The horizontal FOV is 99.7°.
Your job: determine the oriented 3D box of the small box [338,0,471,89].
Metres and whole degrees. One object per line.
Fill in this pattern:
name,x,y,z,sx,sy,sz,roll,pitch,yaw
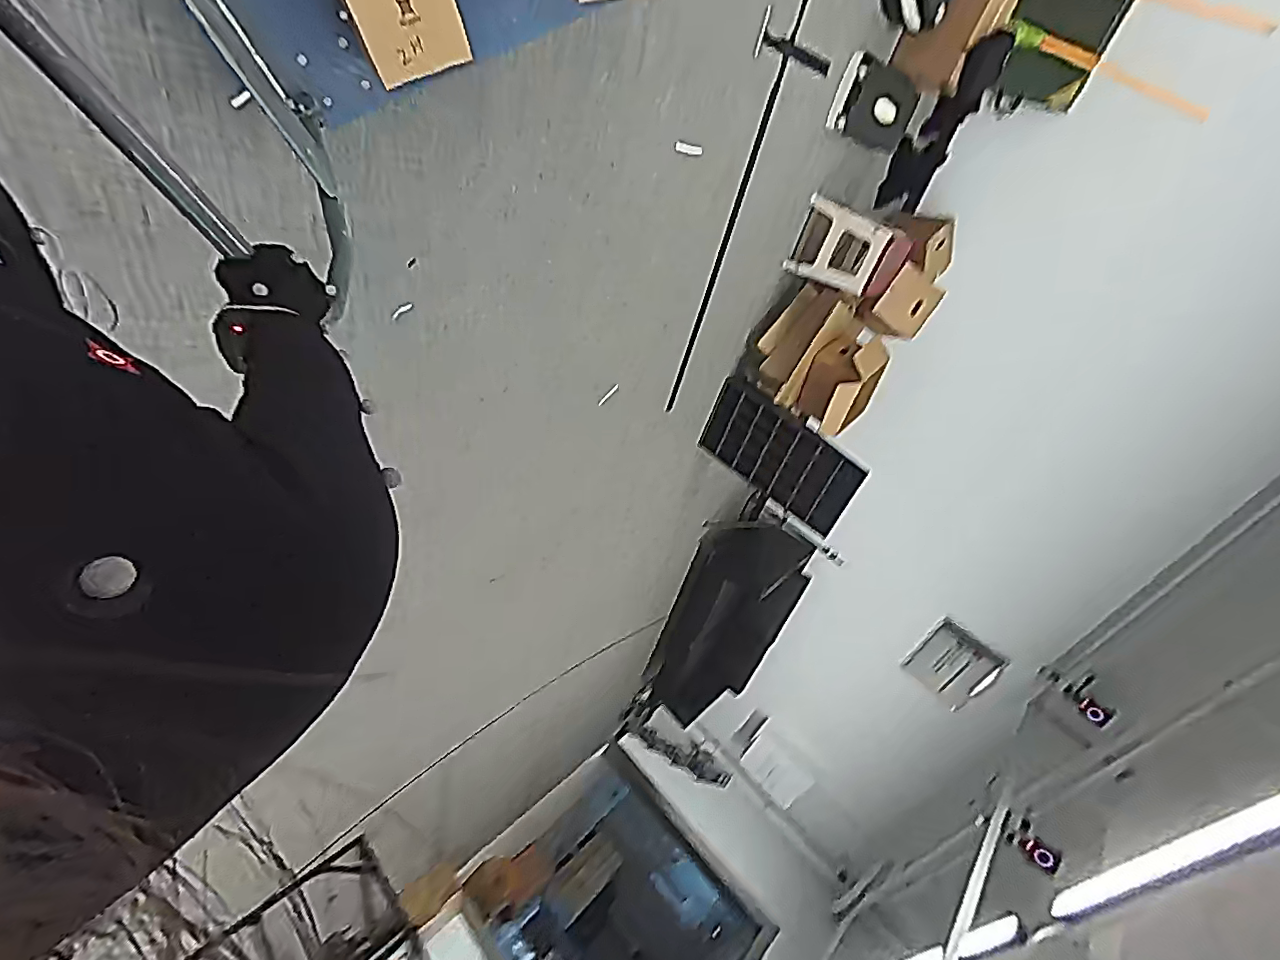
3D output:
small box,-0.416,-0.809,0.911,0.168,0.176,0.179,-27,149,-9
